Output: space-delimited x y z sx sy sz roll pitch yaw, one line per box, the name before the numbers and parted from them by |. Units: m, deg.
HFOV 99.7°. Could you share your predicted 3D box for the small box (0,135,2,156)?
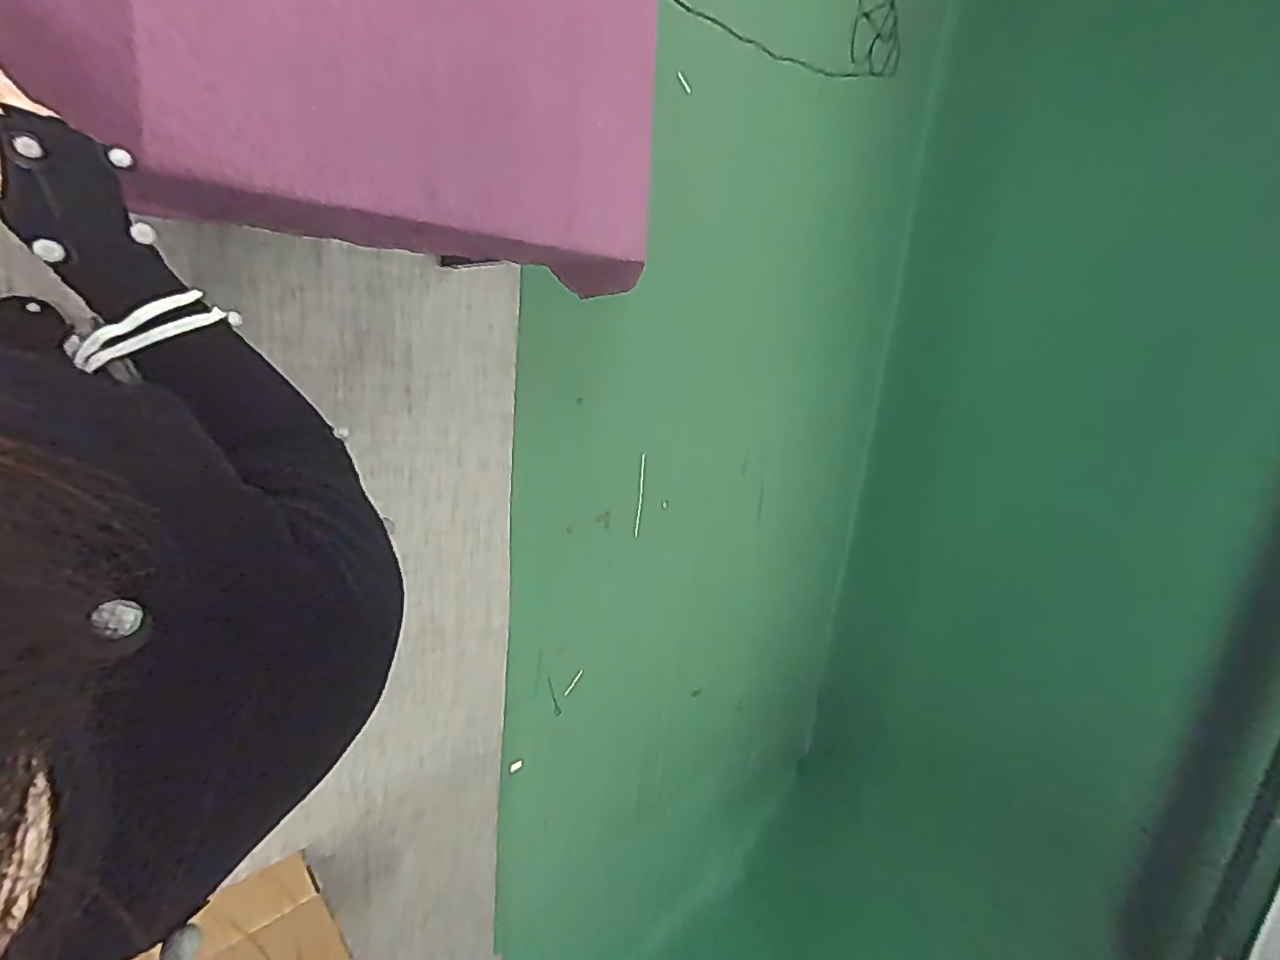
small box | -0.560 -0.342 0.356 0.168 0.176 0.179 -6 106 -46
